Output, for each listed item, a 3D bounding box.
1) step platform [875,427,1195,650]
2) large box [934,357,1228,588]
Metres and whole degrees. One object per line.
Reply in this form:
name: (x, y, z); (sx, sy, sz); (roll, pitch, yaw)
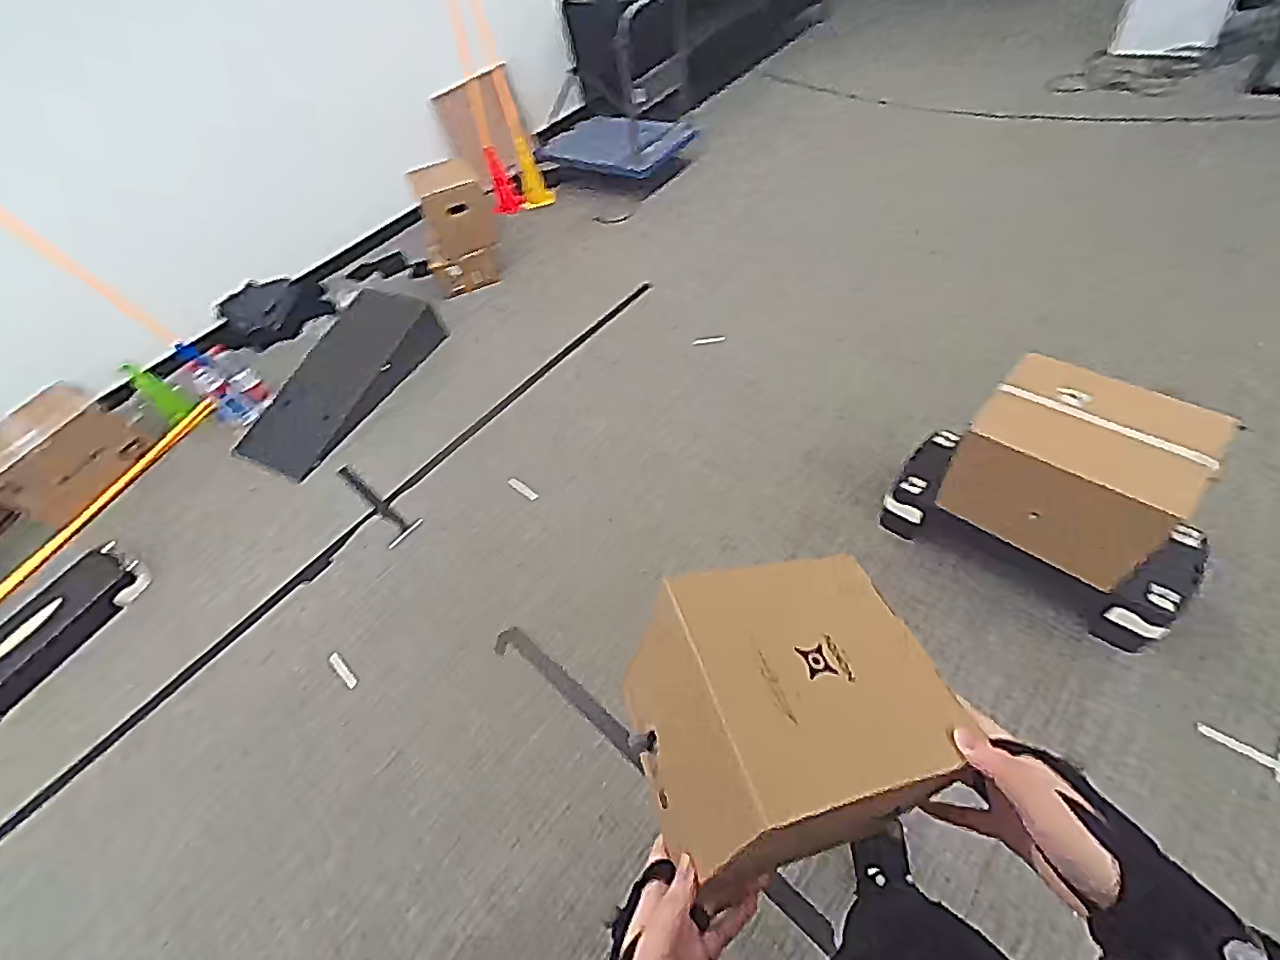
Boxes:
step platform: (1.011, 0.122, 1.458); (0.286, 0.204, 0.684); (-41, 54, -19)
large box: (0.989, -0.023, 1.267); (0.408, 0.320, 0.320); (33, 65, 33)
